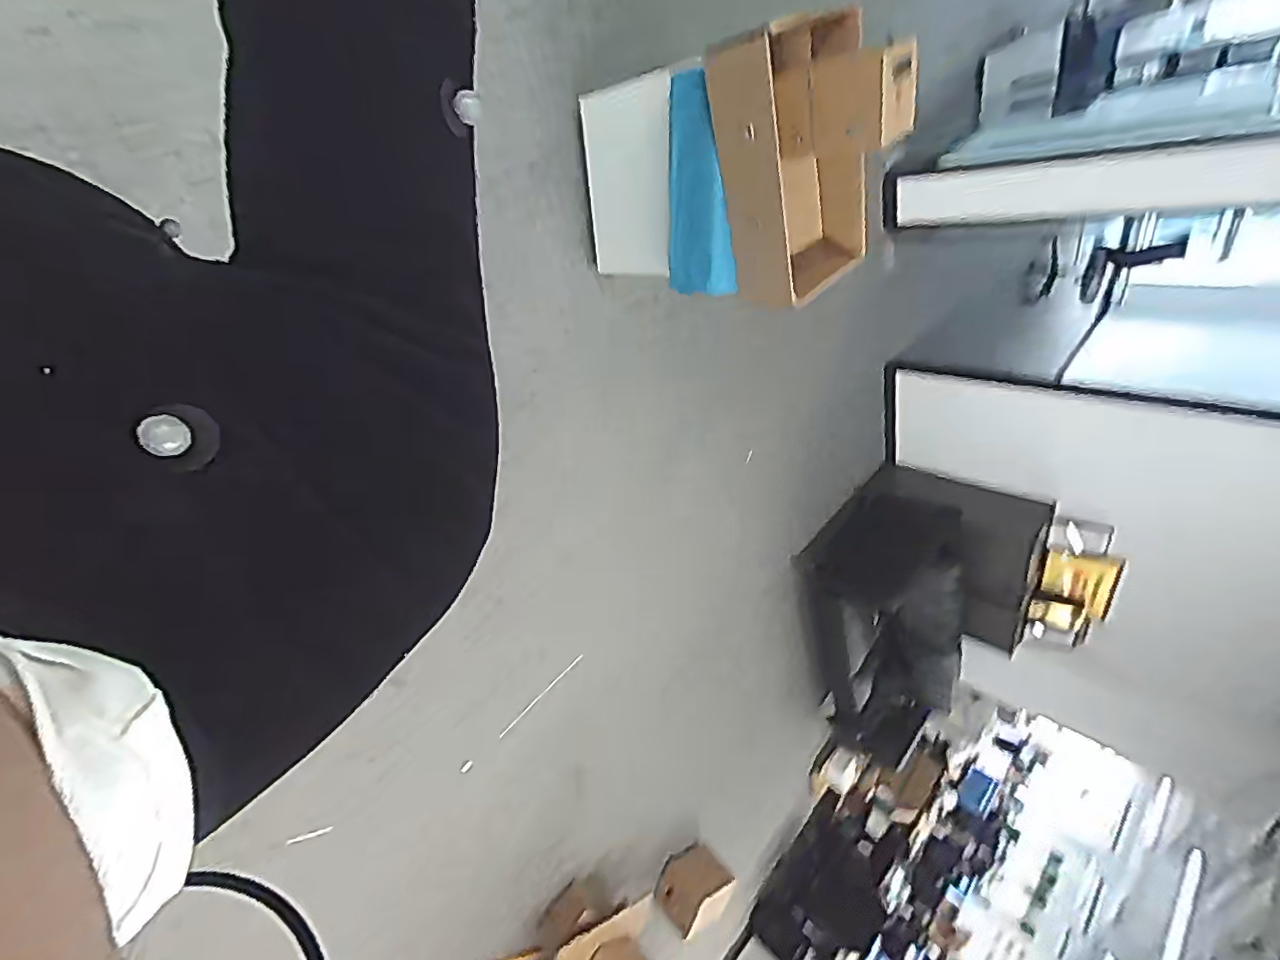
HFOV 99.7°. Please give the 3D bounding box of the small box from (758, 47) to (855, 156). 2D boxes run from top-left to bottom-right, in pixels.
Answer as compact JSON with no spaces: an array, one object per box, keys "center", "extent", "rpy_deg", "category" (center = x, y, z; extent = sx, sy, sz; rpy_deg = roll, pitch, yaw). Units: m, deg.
[{"center":[0.405,-0.919,1.322],"extent":[0.168,0.176,0.179],"rpy_deg":[-40,132,-27],"category":"small box"}]
